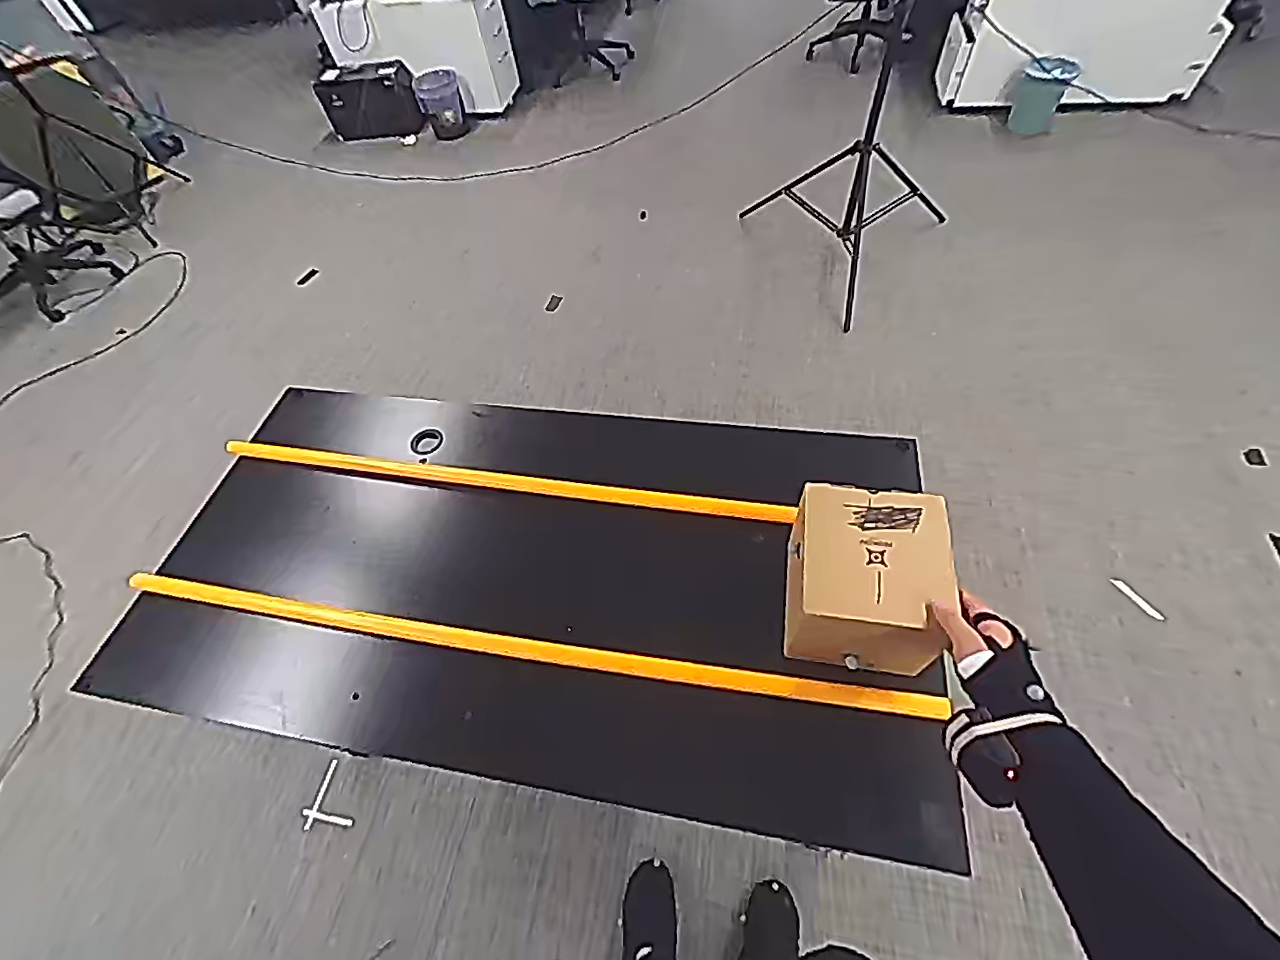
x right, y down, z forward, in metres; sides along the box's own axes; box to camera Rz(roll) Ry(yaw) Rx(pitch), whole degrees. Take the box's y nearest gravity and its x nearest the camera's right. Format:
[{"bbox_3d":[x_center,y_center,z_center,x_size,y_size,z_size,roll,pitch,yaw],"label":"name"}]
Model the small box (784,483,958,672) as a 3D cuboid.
[{"bbox_3d":[0.281,0.128,0.698,0.168,0.176,0.179,6,57,11],"label":"small box"}]
